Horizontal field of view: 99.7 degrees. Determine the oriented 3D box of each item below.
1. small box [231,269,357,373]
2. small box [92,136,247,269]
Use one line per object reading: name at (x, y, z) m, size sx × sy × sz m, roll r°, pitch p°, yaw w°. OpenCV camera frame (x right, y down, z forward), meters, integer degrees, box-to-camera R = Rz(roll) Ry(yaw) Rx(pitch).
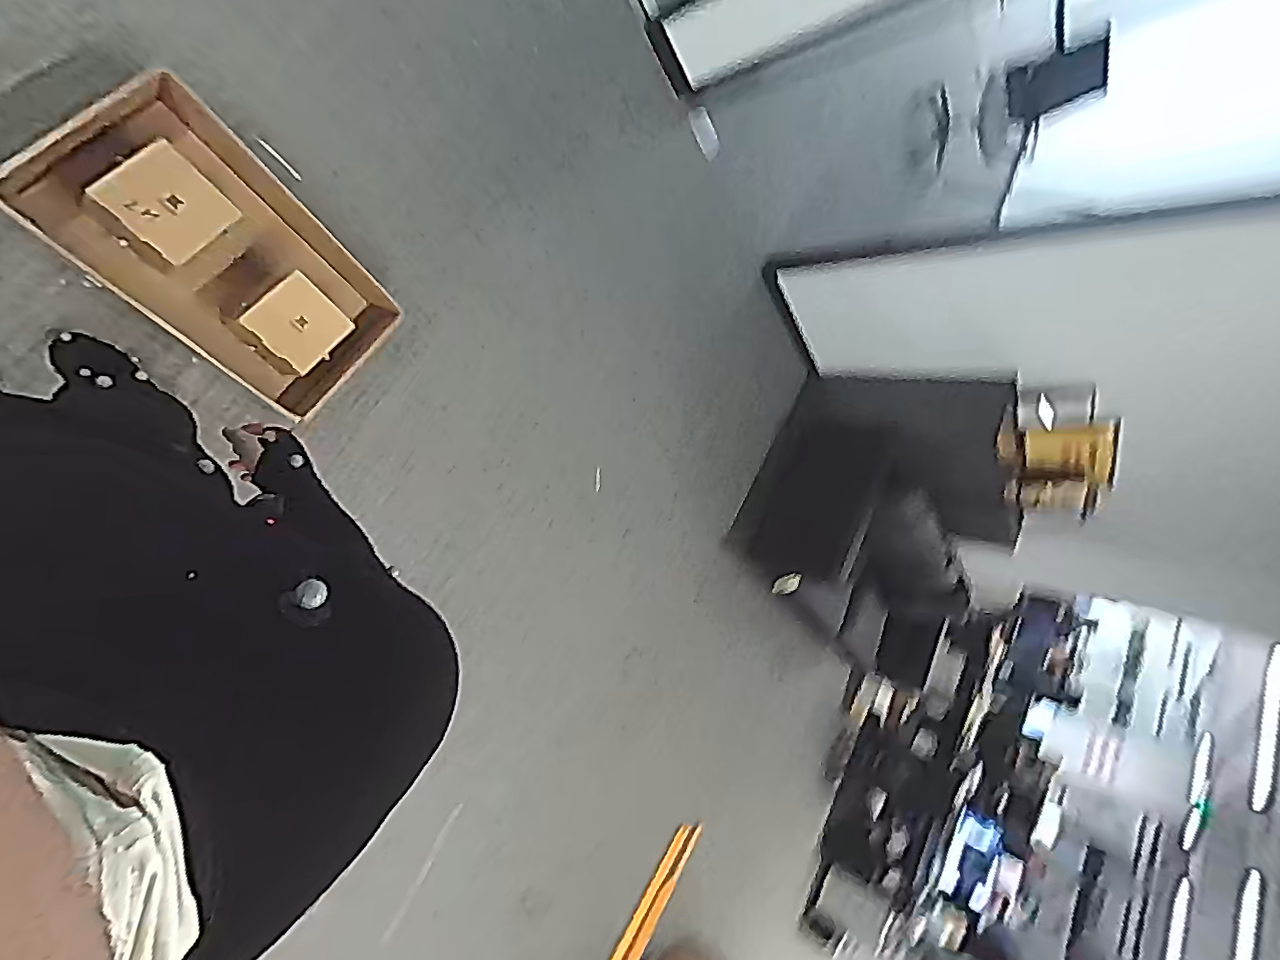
small box at (-0.826, -0.375, 1.287) m, size 0.179 × 0.176 × 0.168 m, roll -56°, pitch 133°, yaw -21°
small box at (-0.960, -0.556, 1.101) m, size 0.179 × 0.176 × 0.168 m, roll -57°, pitch 134°, yaw -22°
